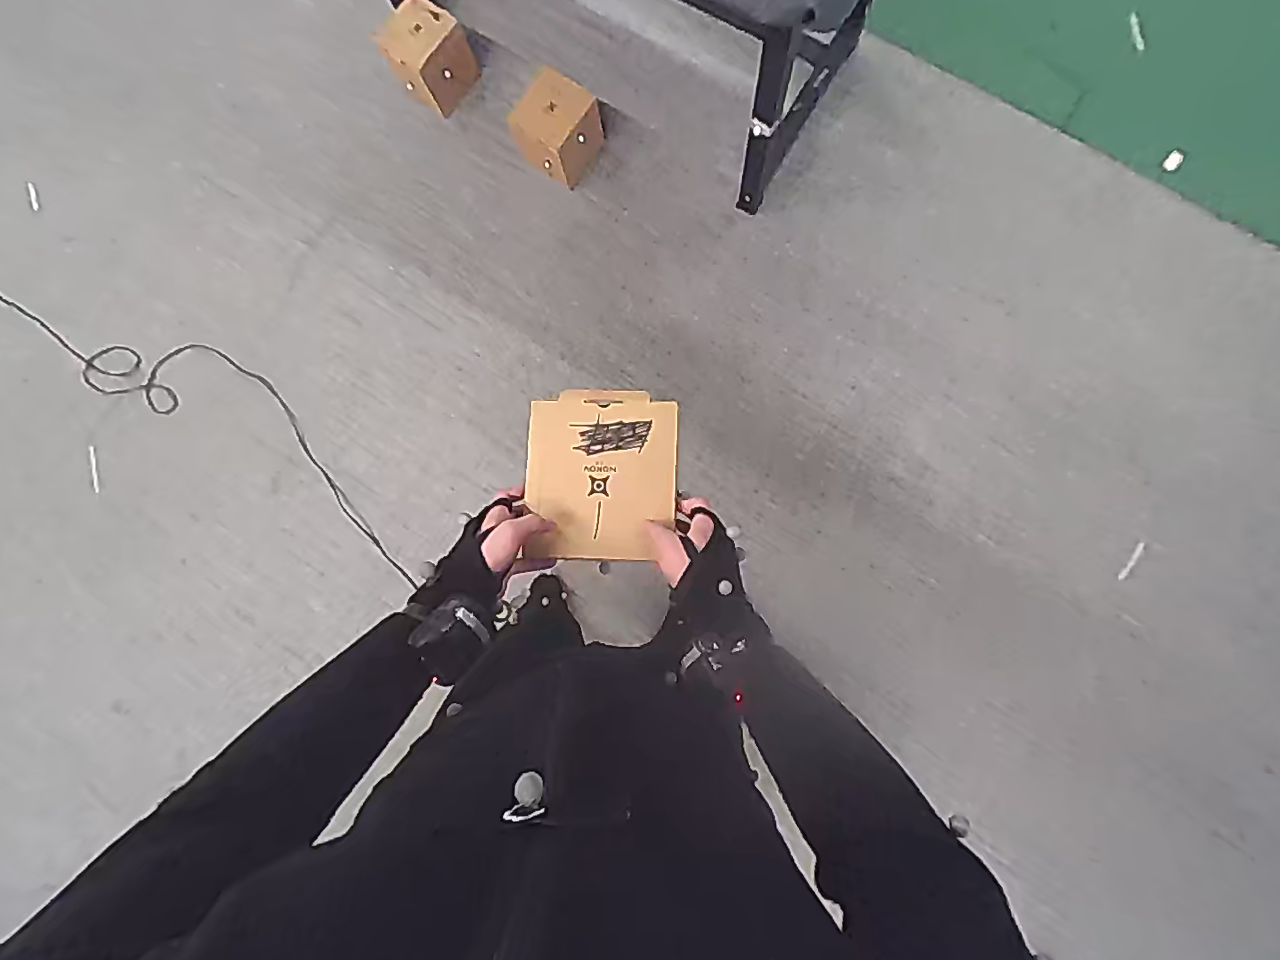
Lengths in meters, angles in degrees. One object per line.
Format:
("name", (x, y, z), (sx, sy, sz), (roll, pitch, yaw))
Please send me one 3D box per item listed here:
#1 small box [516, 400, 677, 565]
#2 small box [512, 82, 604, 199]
("small box", (-0.041, 0.012, 0.661), (0.168, 0.176, 0.179), (1, 81, 6))
("small box", (-0.214, -0.917, 1.477), (0.168, 0.176, 0.179), (35, 87, 7))
